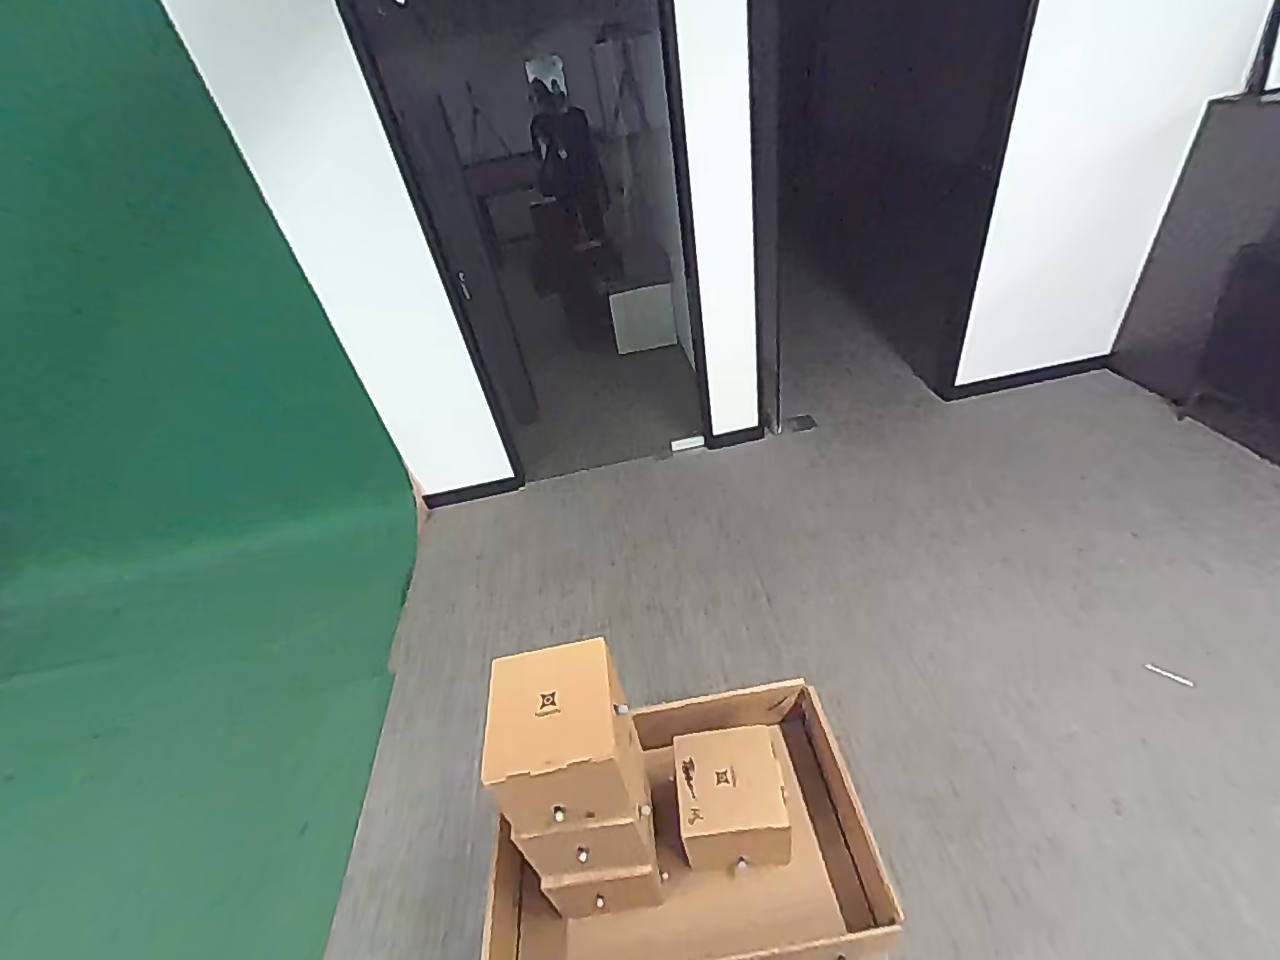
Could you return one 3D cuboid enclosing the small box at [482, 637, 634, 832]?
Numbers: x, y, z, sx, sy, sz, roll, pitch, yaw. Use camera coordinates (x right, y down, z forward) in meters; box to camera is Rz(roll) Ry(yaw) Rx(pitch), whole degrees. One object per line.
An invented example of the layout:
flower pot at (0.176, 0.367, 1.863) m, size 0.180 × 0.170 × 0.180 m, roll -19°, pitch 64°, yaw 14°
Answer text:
small box at (-0.107, 0.354, 0.759) m, size 0.168 × 0.176 × 0.179 m, roll -11°, pitch 37°, yaw 0°
